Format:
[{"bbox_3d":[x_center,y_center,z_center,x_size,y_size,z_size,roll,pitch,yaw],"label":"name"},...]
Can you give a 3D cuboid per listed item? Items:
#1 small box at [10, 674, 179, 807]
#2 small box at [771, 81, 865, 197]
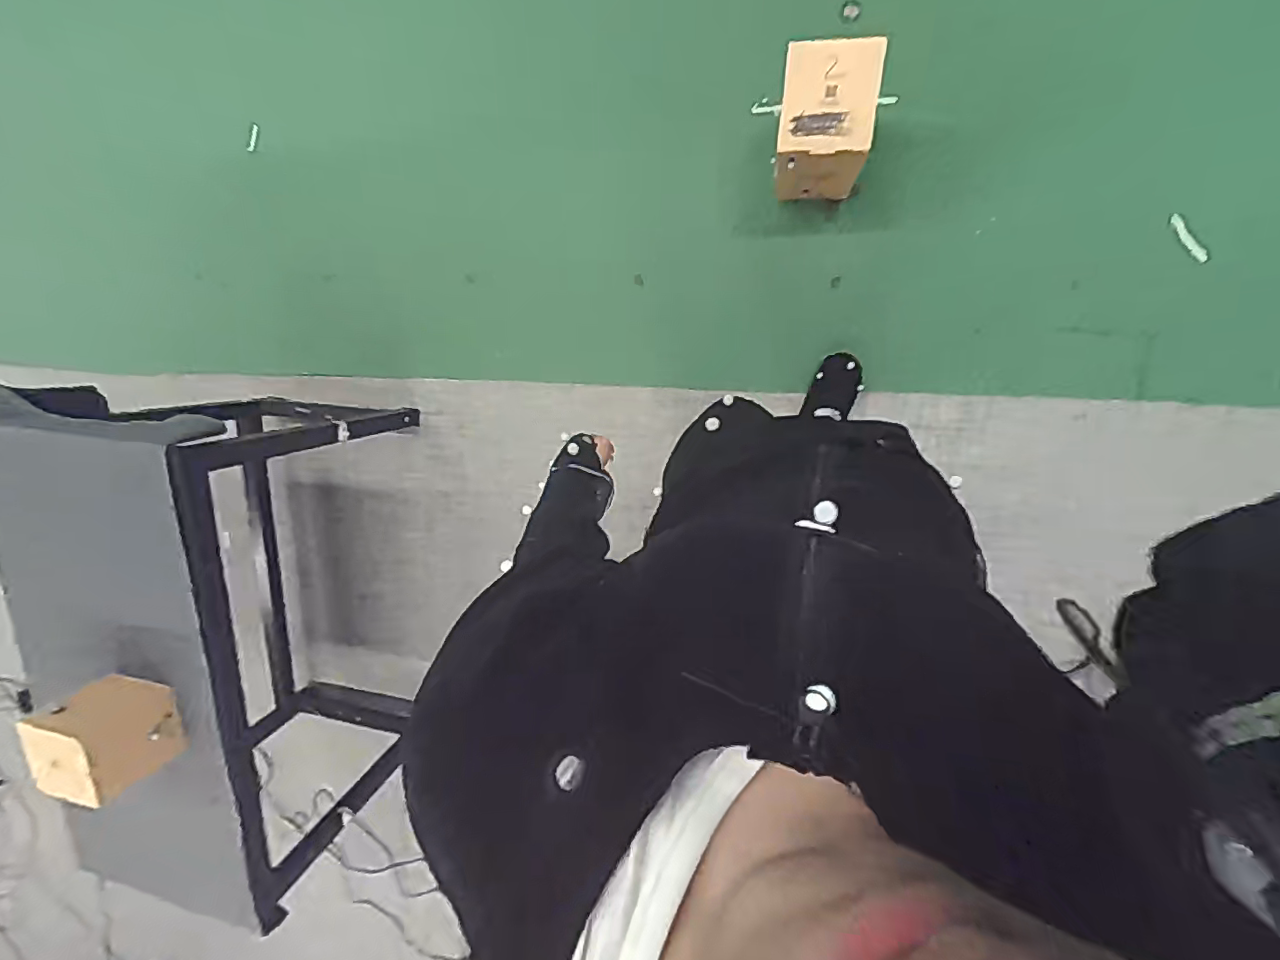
[{"bbox_3d":[-1.114,0.526,1.116,0.179,0.176,0.168,5,106,13],"label":"small box"},{"bbox_3d":[0.382,-0.742,1.190,0.168,0.176,0.179,7,106,12],"label":"small box"}]
